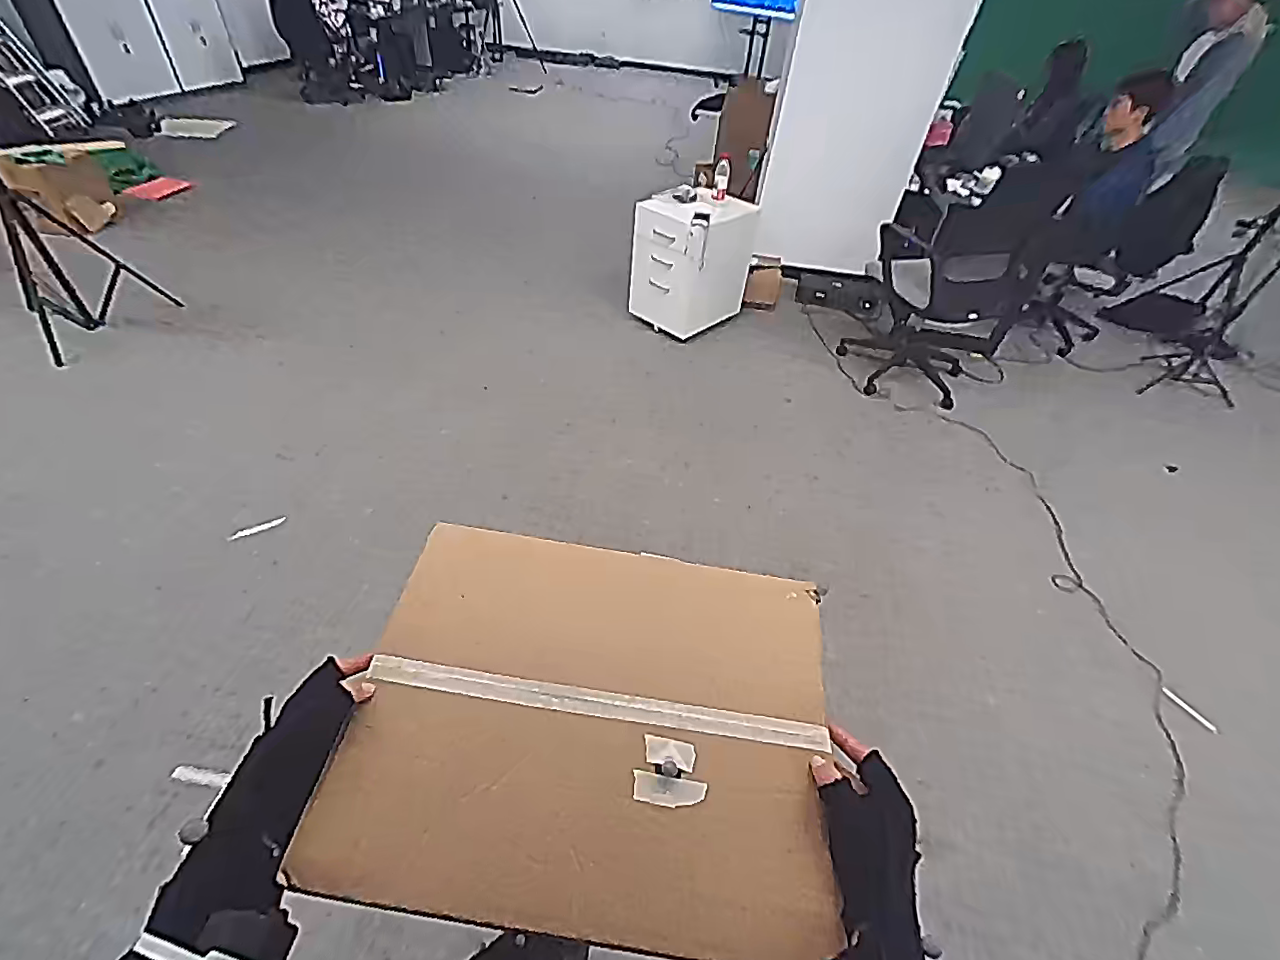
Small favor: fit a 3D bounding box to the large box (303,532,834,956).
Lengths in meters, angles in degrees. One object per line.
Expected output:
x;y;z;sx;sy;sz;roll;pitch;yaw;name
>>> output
-0.051;0.293;0.602;0.408;0.320;0.320;10;51;0;large box
